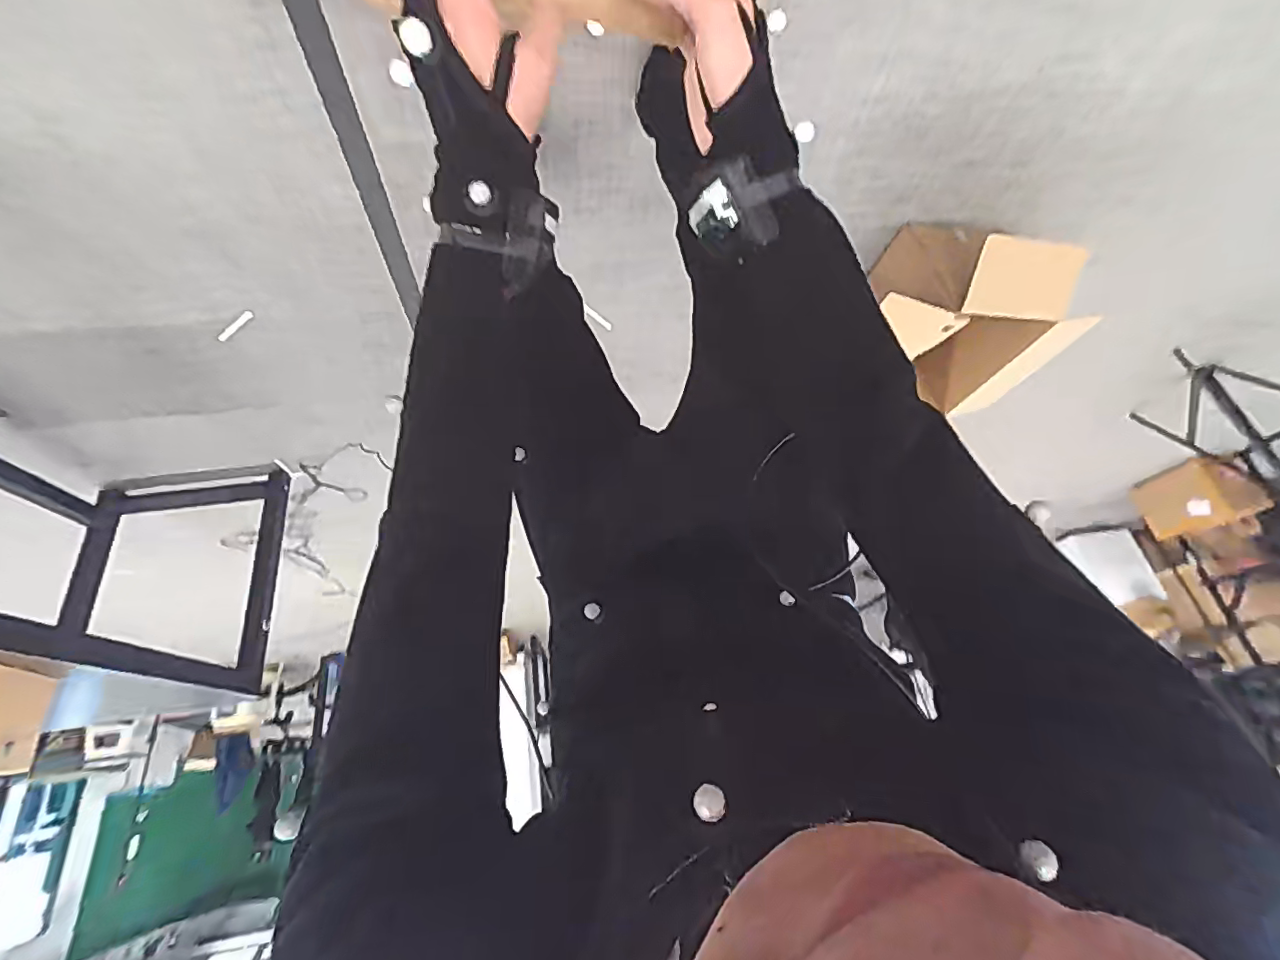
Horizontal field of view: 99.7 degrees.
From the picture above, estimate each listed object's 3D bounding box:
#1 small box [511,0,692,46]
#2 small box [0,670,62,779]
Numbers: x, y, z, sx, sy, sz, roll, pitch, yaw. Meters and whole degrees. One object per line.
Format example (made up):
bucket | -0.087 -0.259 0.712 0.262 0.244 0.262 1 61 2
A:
small box | -0.052 -0.407 0.319 0.179 0.176 0.168 -17 154 -35
small box | -1.179 0.432 0.939 0.168 0.176 0.179 1 152 -19
